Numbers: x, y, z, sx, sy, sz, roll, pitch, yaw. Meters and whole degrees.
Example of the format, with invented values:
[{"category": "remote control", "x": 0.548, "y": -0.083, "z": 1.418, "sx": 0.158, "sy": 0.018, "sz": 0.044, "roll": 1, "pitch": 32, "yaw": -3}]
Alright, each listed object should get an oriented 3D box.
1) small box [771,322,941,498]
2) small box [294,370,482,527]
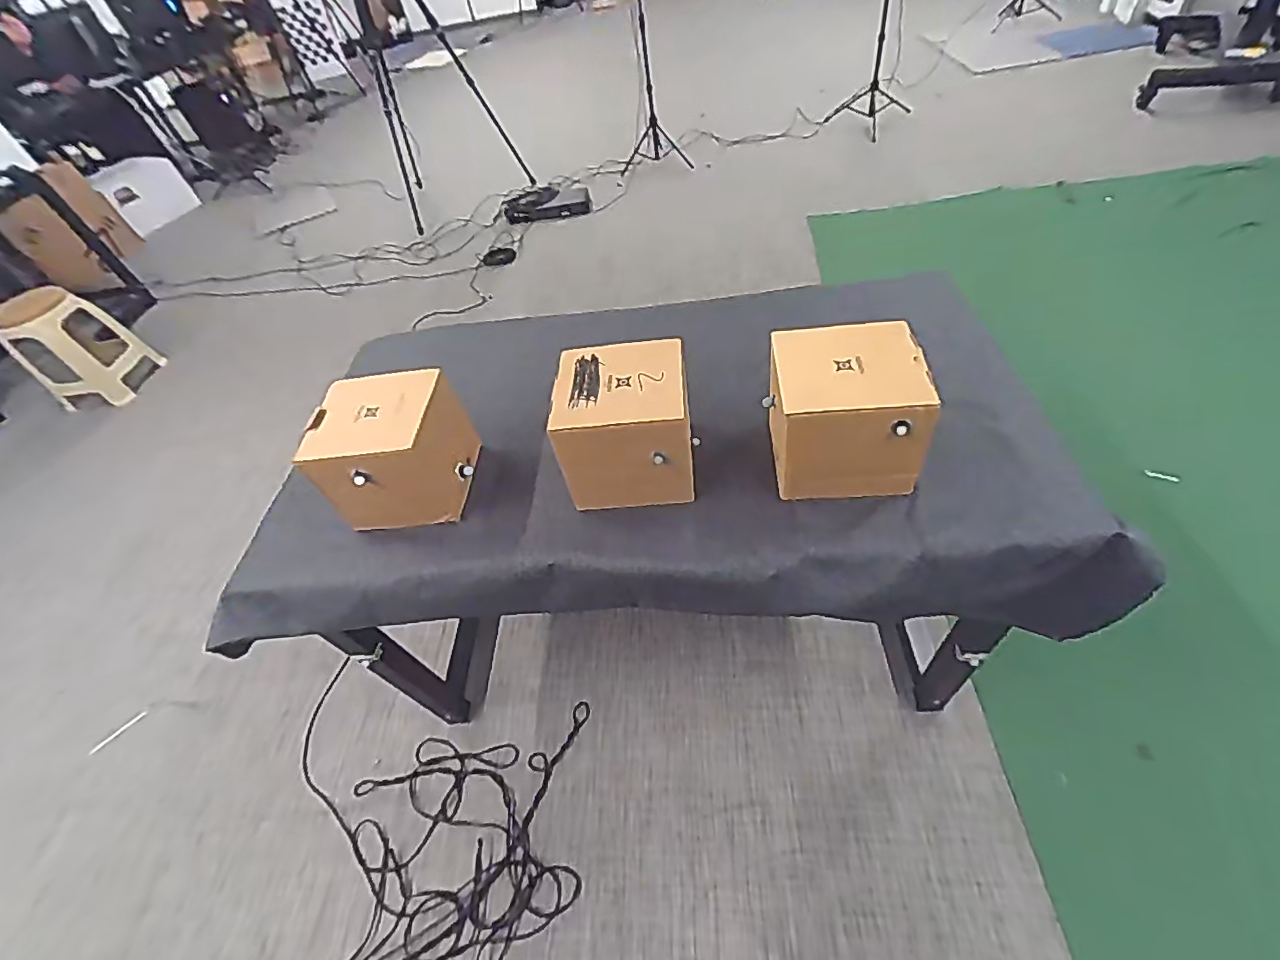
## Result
[{"category": "small box", "x": 0.272, "y": -0.089, "z": 0.729, "sx": 0.179, "sy": 0.176, "sz": 0.168, "roll": -3, "pitch": 50, "yaw": 9}, {"category": "small box", "x": -0.364, "y": -0.042, "z": 0.818, "sx": 0.179, "sy": 0.176, "sz": 0.168, "roll": -5, "pitch": 51, "yaw": 6}]
